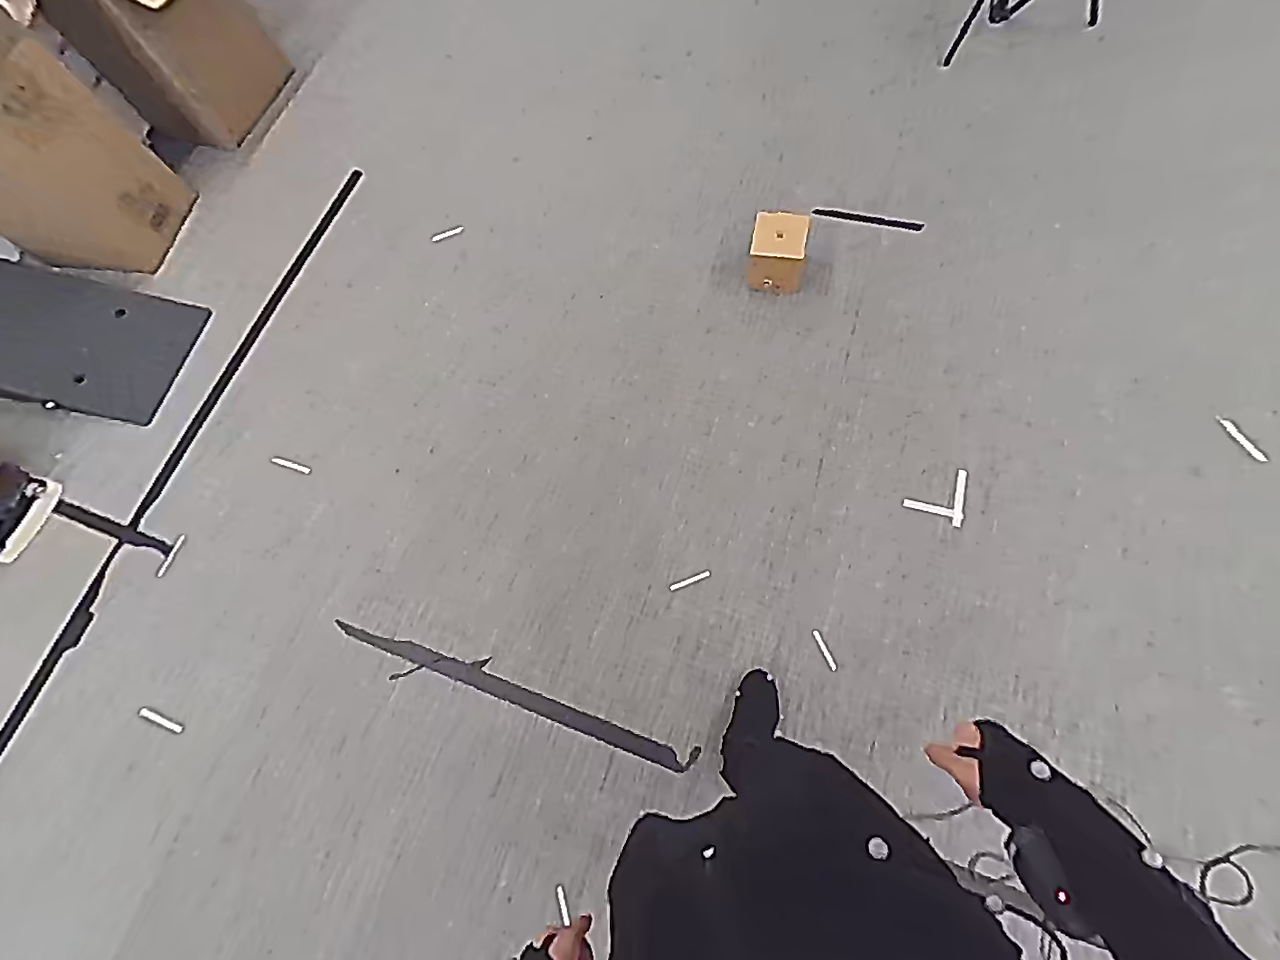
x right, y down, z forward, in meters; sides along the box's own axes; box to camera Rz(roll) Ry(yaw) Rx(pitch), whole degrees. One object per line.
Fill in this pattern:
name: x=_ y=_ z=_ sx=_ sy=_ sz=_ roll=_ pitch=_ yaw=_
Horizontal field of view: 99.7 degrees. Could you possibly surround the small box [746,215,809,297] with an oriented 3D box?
small box: x=0.448 y=-0.733 z=1.778 sx=0.168 sy=0.176 sz=0.179 roll=10 pitch=72 yaw=10
